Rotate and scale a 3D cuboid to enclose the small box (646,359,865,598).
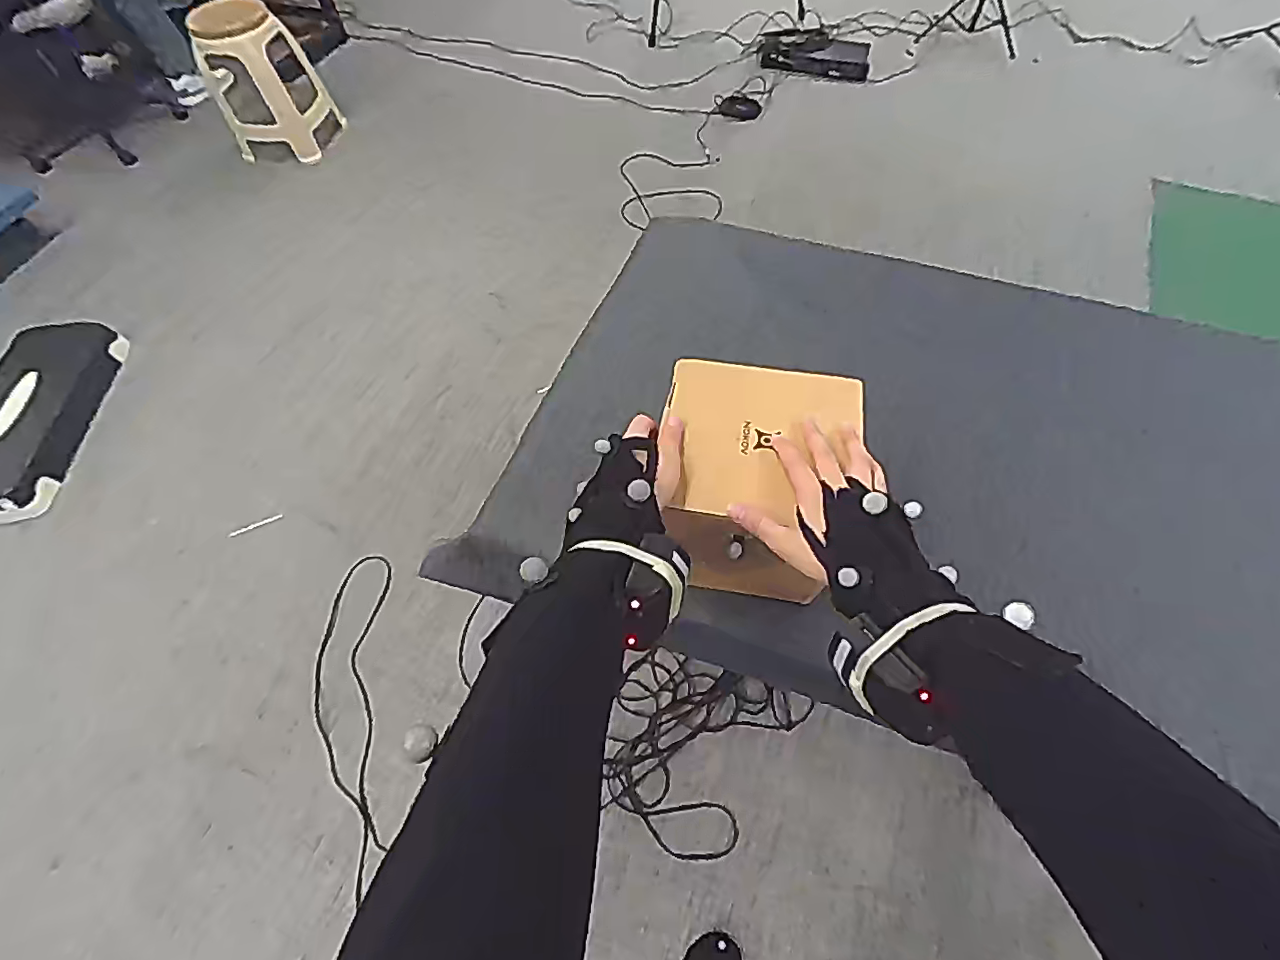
[{"bbox_3d":[0.107,0.007,0.537,0.179,0.176,0.168,8,60,7],"label":"small box"}]
